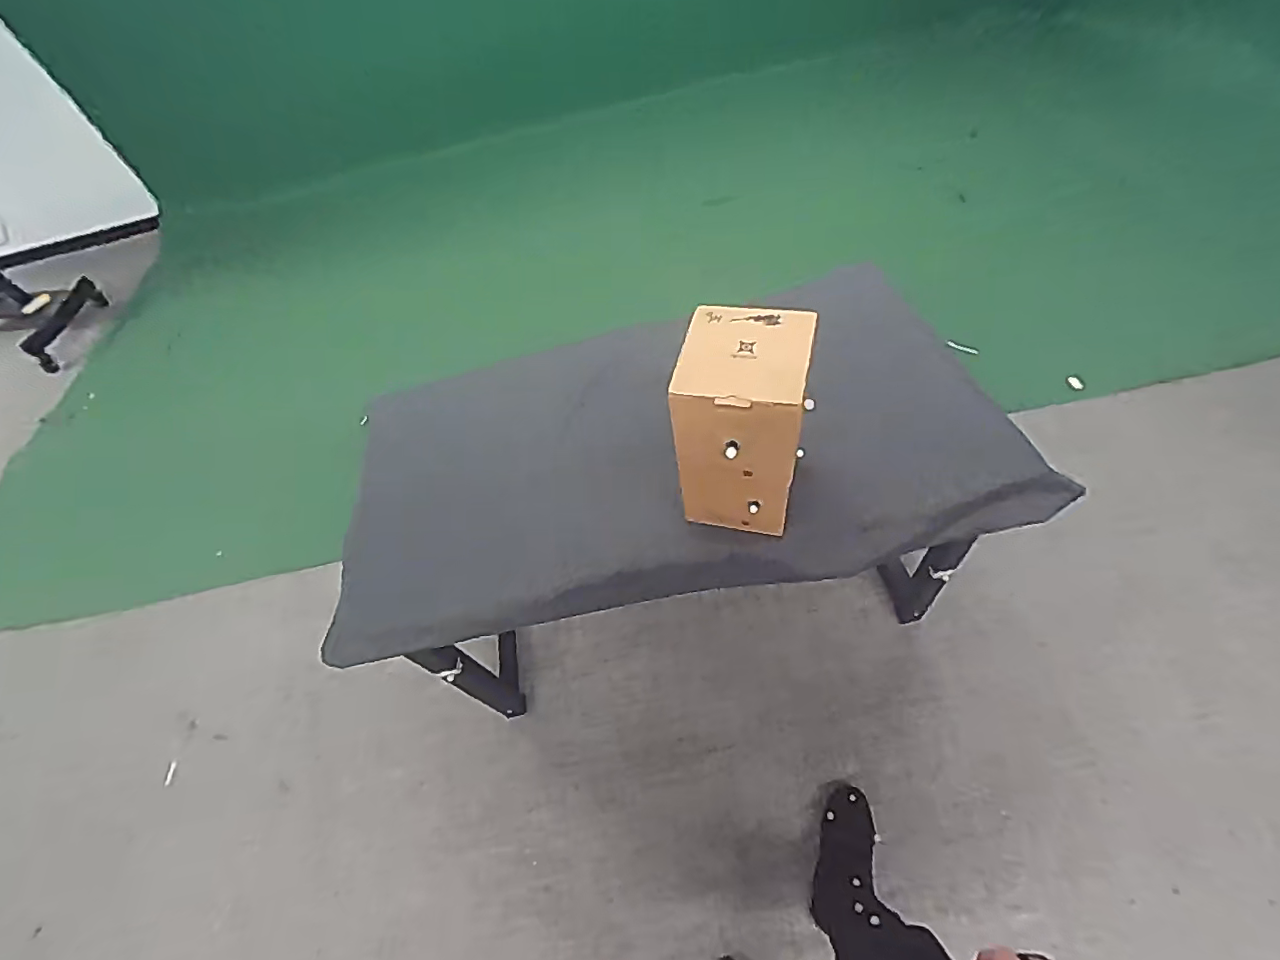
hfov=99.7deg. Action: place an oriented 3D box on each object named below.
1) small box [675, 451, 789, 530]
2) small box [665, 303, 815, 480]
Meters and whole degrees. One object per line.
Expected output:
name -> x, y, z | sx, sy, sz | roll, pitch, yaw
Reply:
small box -> 0.164, -0.037, 0.901 | 0.168, 0.176, 0.179 | 9, 57, 15
small box -> 0.144, -0.120, 0.761 | 0.168, 0.176, 0.179 | 10, 59, 15
